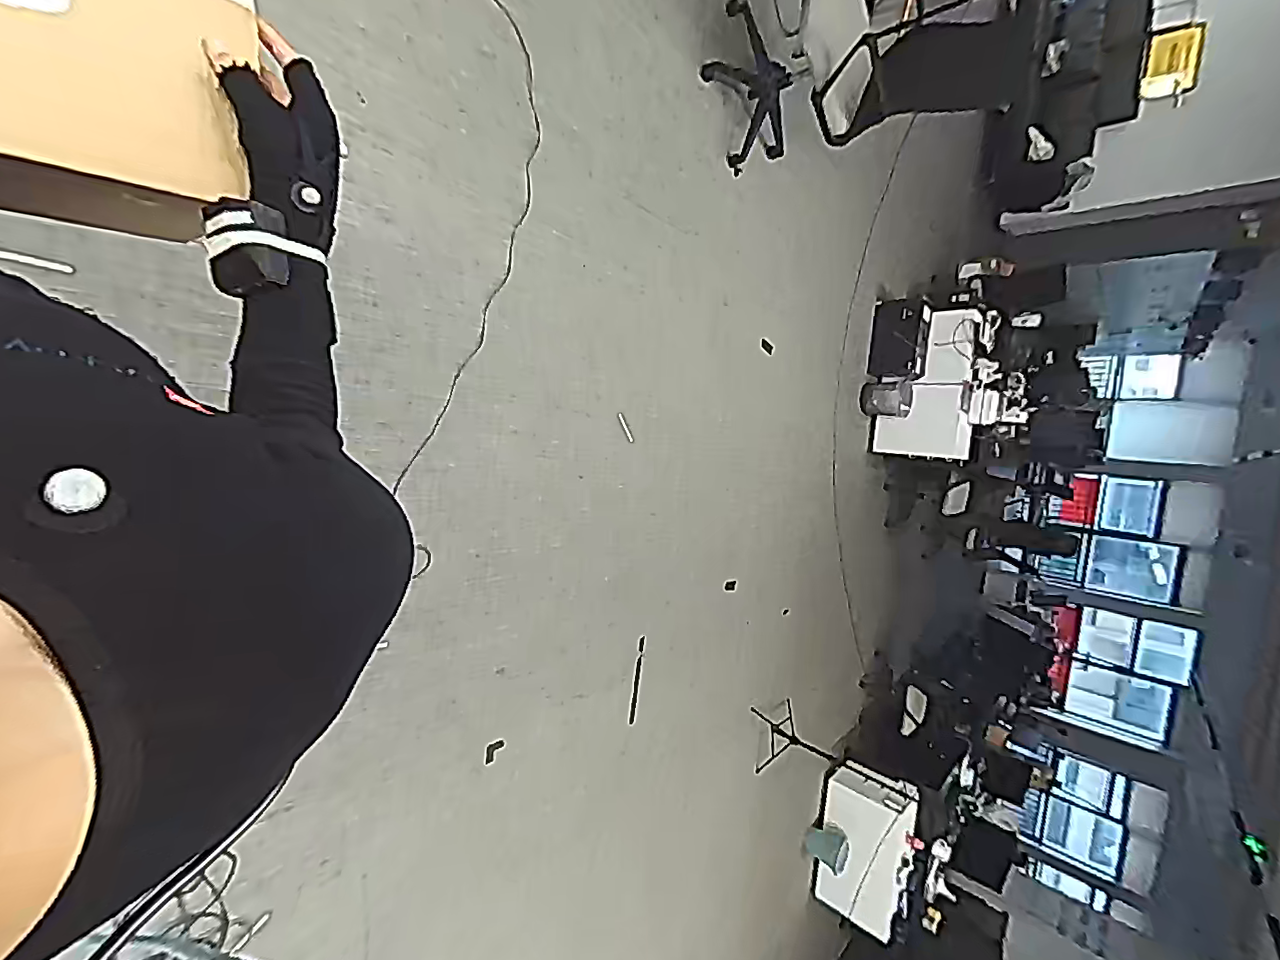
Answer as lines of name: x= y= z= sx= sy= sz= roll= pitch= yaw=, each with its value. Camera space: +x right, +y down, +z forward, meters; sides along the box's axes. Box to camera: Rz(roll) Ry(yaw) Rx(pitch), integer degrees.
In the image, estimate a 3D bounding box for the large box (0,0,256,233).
large box: x=-0.560 y=-0.396 z=0.379 sx=0.408 sy=0.320 sz=0.320 roll=-8 pitch=108 yaw=-49
